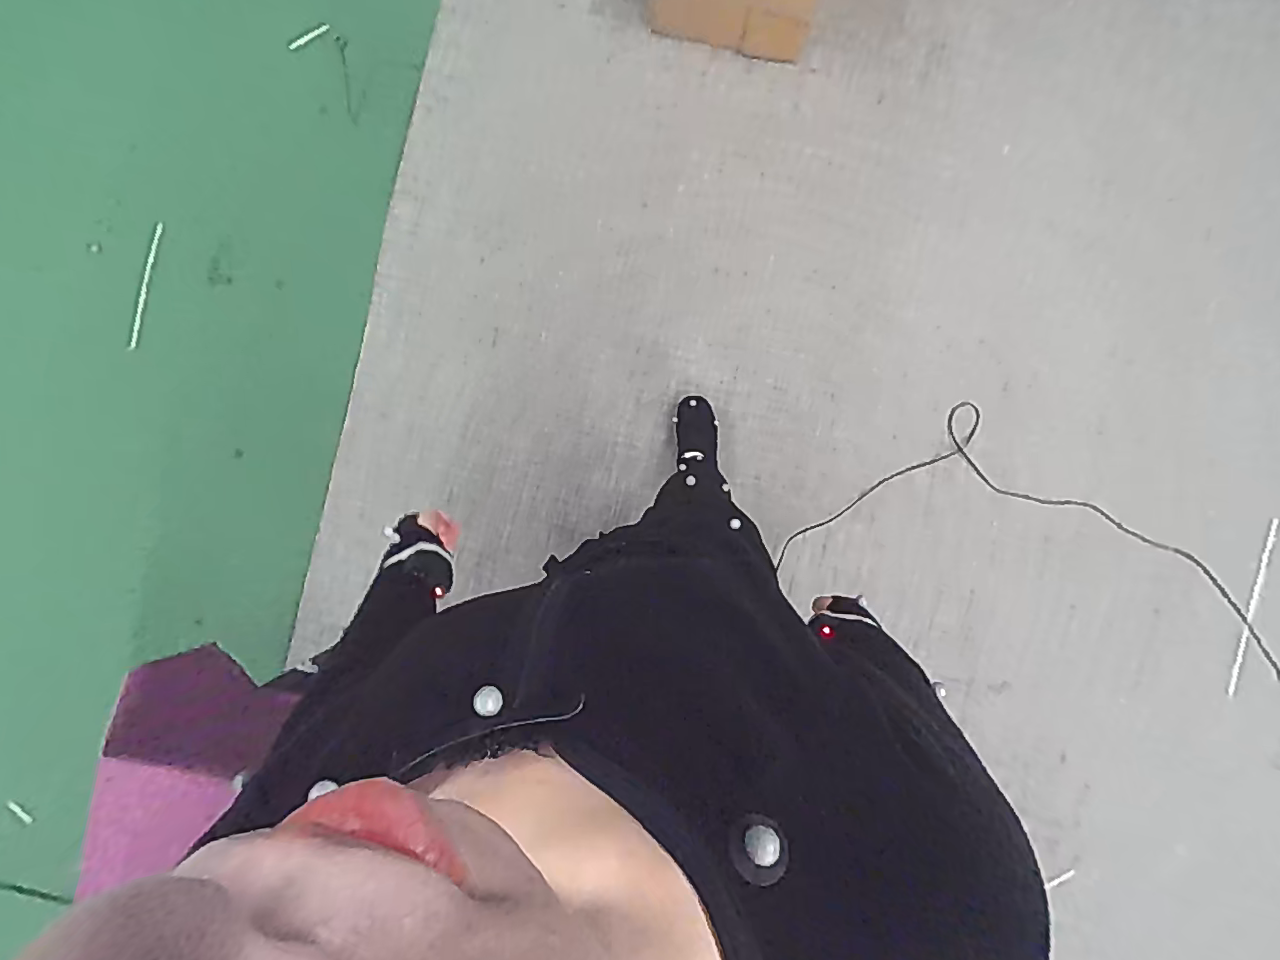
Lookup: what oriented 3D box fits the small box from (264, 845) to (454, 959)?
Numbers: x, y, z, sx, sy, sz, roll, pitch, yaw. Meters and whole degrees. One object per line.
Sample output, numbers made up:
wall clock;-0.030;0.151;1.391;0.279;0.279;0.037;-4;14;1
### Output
small box;-0.371;0.631;0.720;0.179;0.176;0.168;13;92;3
